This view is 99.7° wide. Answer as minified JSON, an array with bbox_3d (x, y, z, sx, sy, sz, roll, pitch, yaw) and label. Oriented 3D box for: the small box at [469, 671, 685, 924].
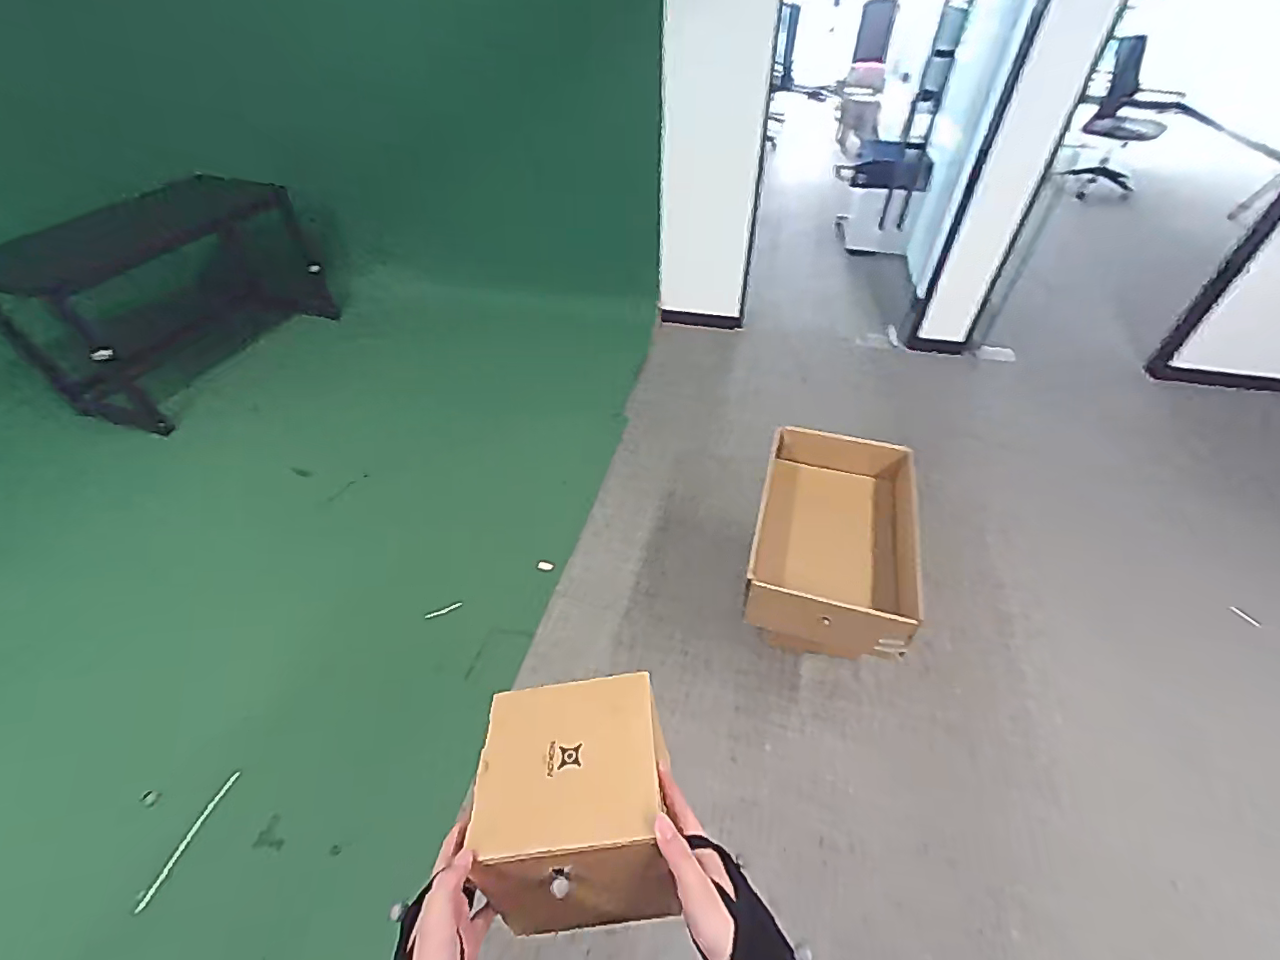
[{"bbox_3d":[-0.050,0.328,0.563,0.179,0.176,0.168,-10,33,4],"label":"small box"}]
